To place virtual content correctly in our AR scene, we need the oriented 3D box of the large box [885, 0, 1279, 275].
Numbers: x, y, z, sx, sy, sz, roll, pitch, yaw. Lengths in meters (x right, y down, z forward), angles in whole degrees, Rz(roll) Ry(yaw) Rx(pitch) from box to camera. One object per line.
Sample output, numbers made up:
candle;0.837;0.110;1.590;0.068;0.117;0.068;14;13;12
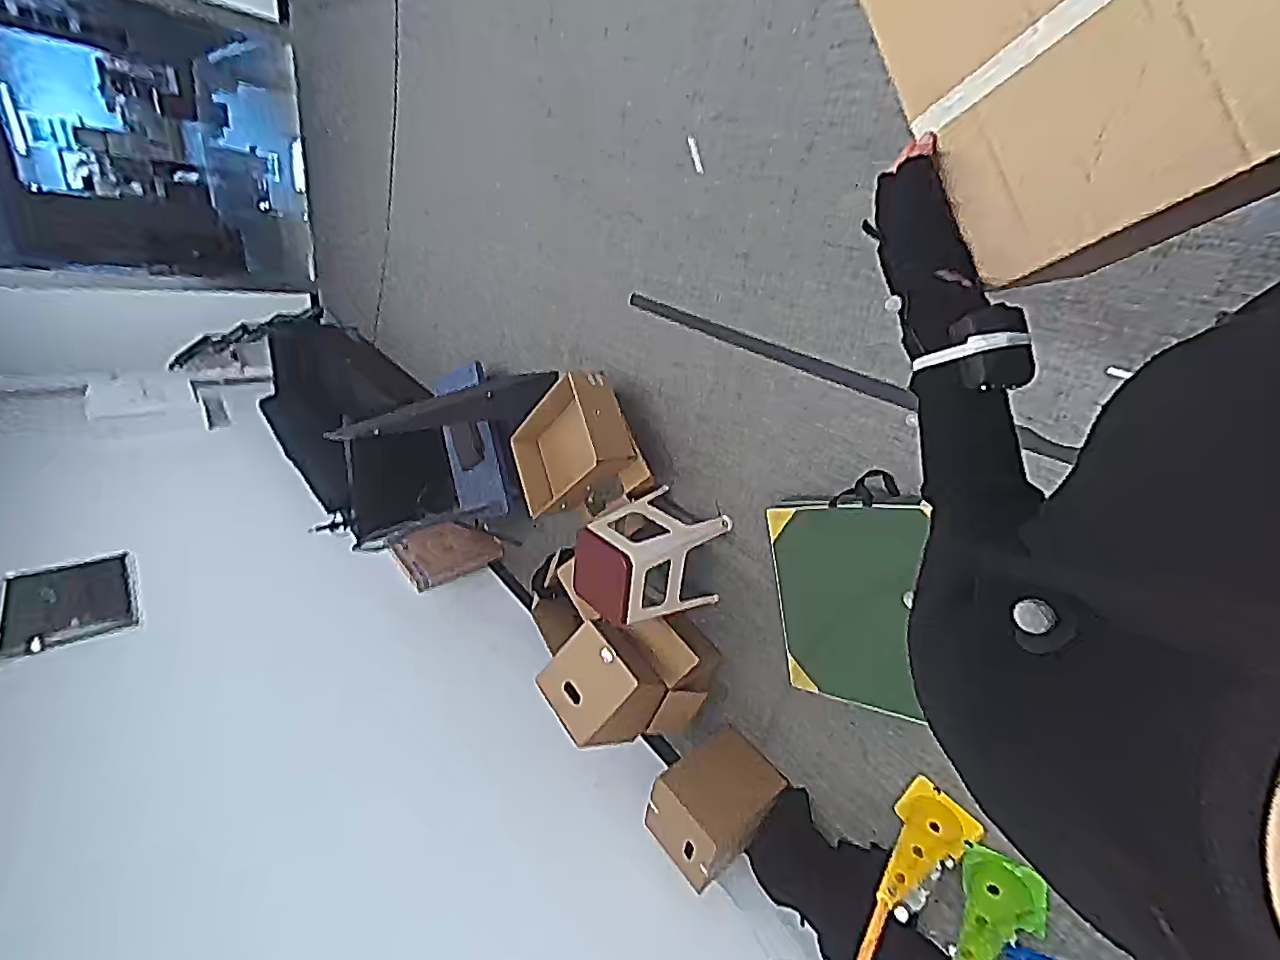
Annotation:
large box;0.485;-0.404;0.419;0.408;0.320;0.320;-21;89;53
